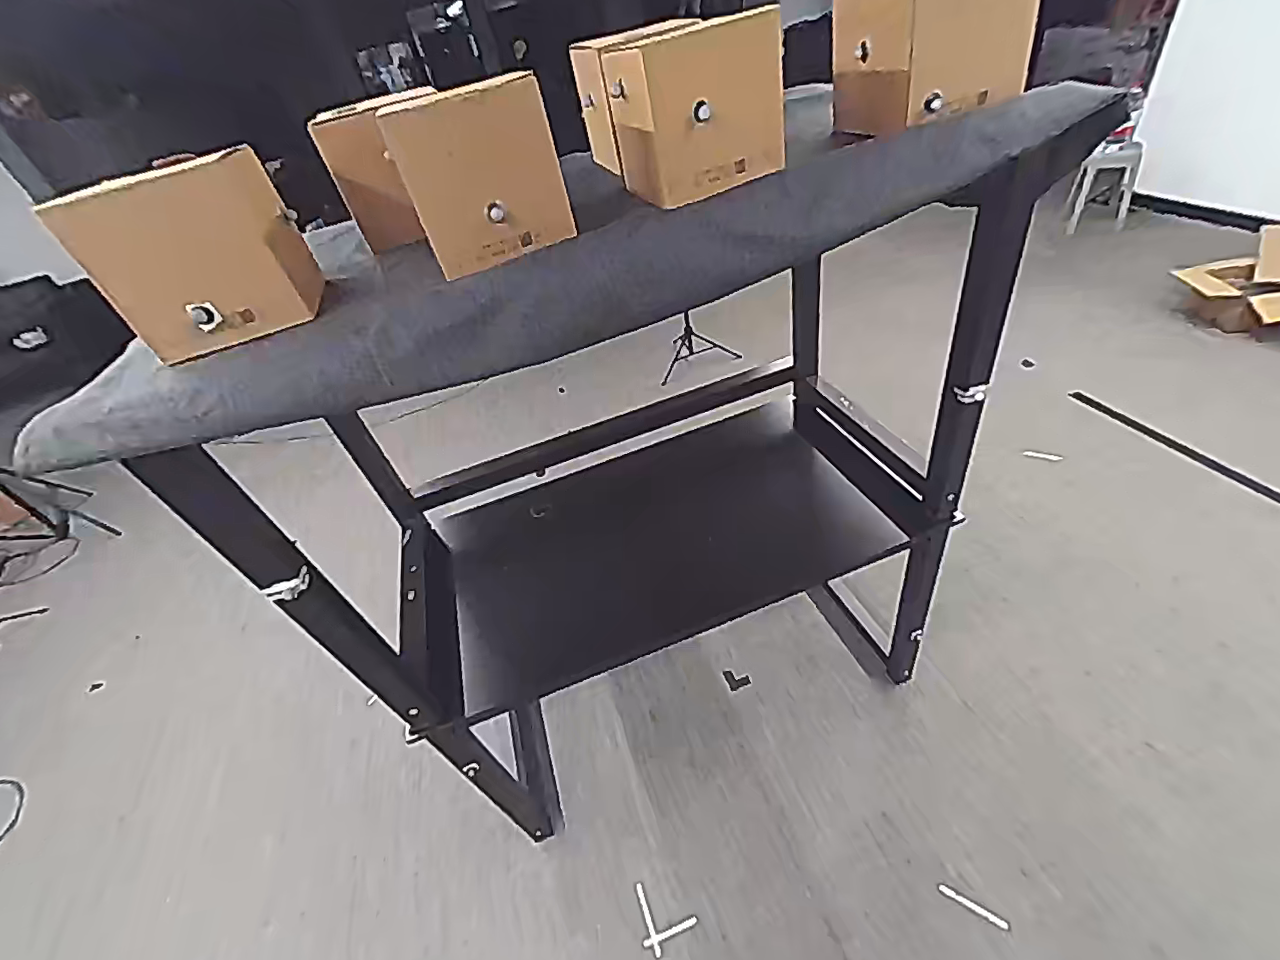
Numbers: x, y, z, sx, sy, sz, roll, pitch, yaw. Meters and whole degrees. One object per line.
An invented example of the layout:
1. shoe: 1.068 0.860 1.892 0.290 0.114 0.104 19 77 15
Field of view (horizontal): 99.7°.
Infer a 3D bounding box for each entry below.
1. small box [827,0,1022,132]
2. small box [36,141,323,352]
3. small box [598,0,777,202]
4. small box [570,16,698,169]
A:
1. small box: 0.364 -0.571 0.704 0.168 0.176 0.179 -19 37 -4
2. small box: -0.495 -0.270 0.622 0.168 0.176 0.179 -23 39 -9
3. small box: 0.063 -0.474 0.691 0.168 0.176 0.179 -21 39 -6
4. small box: -0.001 -0.626 0.884 0.168 0.176 0.179 -21 40 -7
